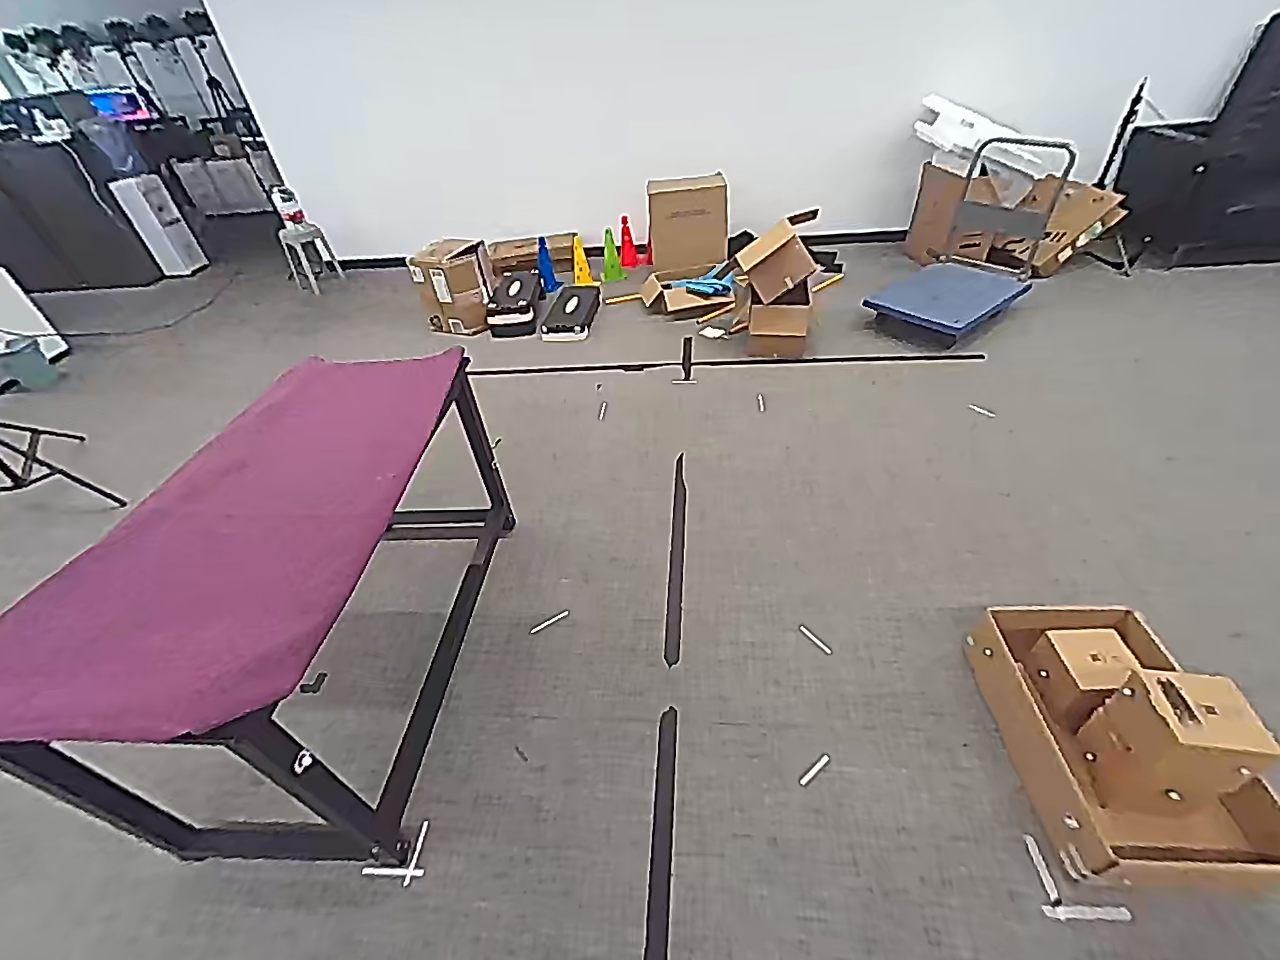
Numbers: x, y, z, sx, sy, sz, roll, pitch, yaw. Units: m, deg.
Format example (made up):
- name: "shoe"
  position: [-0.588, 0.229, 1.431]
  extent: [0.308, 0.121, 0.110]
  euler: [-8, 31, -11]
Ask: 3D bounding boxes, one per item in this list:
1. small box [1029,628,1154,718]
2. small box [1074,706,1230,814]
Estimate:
- name: "small box"
  position: [1.160, 0.507, 1.414]
  extent: [0.179, 0.176, 0.168]
  euler: [-2, 42, 4]
- name: "small box"
  position: [1.168, 0.651, 1.253]
  extent: [0.179, 0.176, 0.168]
  euler: [1, 39, 9]
